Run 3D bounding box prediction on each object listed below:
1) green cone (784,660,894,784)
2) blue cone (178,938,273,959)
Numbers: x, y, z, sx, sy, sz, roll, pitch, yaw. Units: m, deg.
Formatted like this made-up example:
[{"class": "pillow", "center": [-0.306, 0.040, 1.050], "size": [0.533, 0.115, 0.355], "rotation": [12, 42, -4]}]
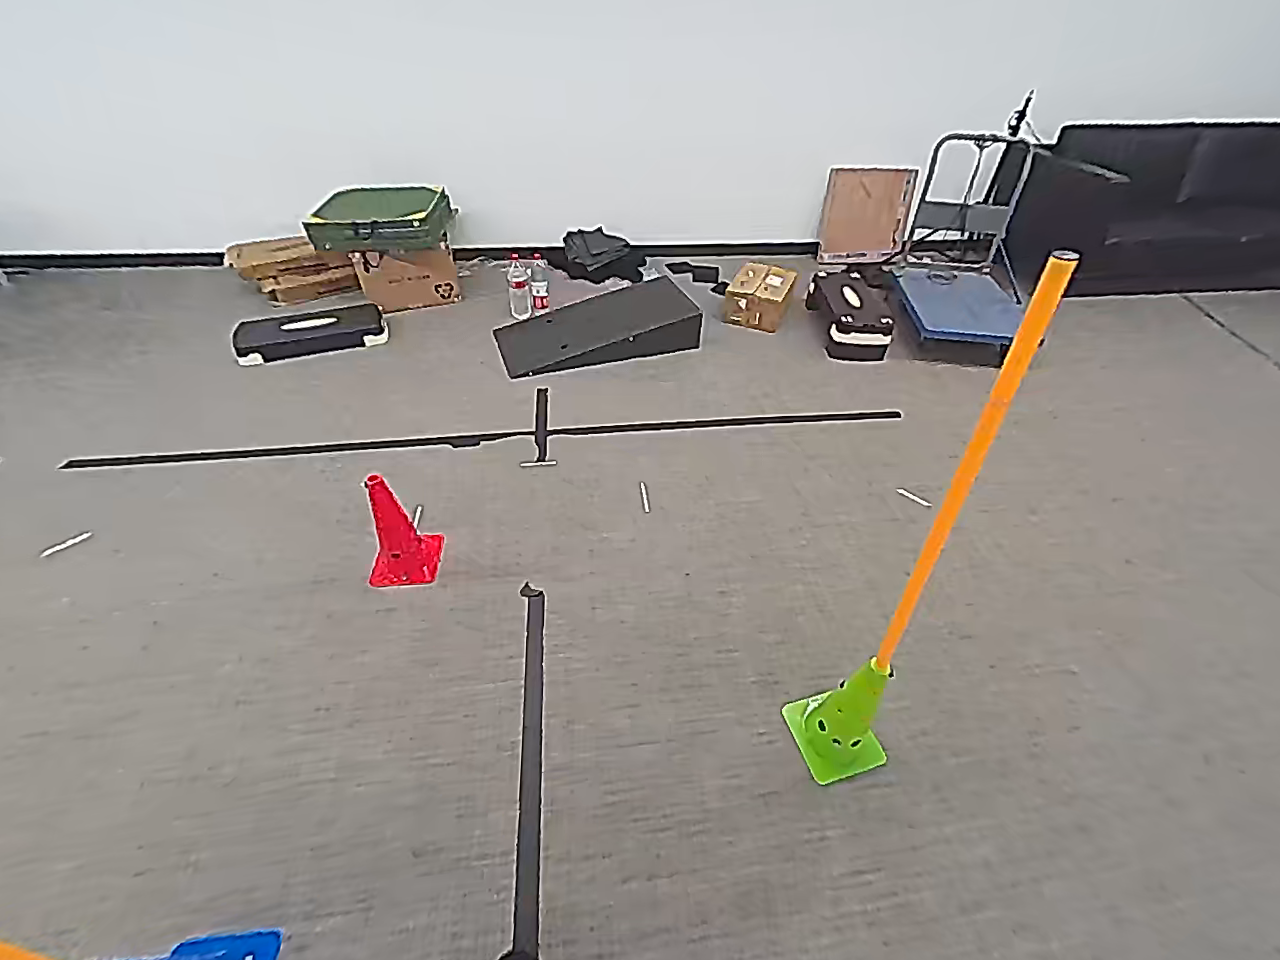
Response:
[{"class": "green cone", "center": [0.495, 0.515, 1.243], "size": [0.200, 0.368, 0.202], "rotation": [-11, 46, -14]}, {"class": "blue cone", "center": [-0.776, 0.830, 0.856], "size": [0.193, 0.380, 0.192], "rotation": [-2, 43, -4]}]
